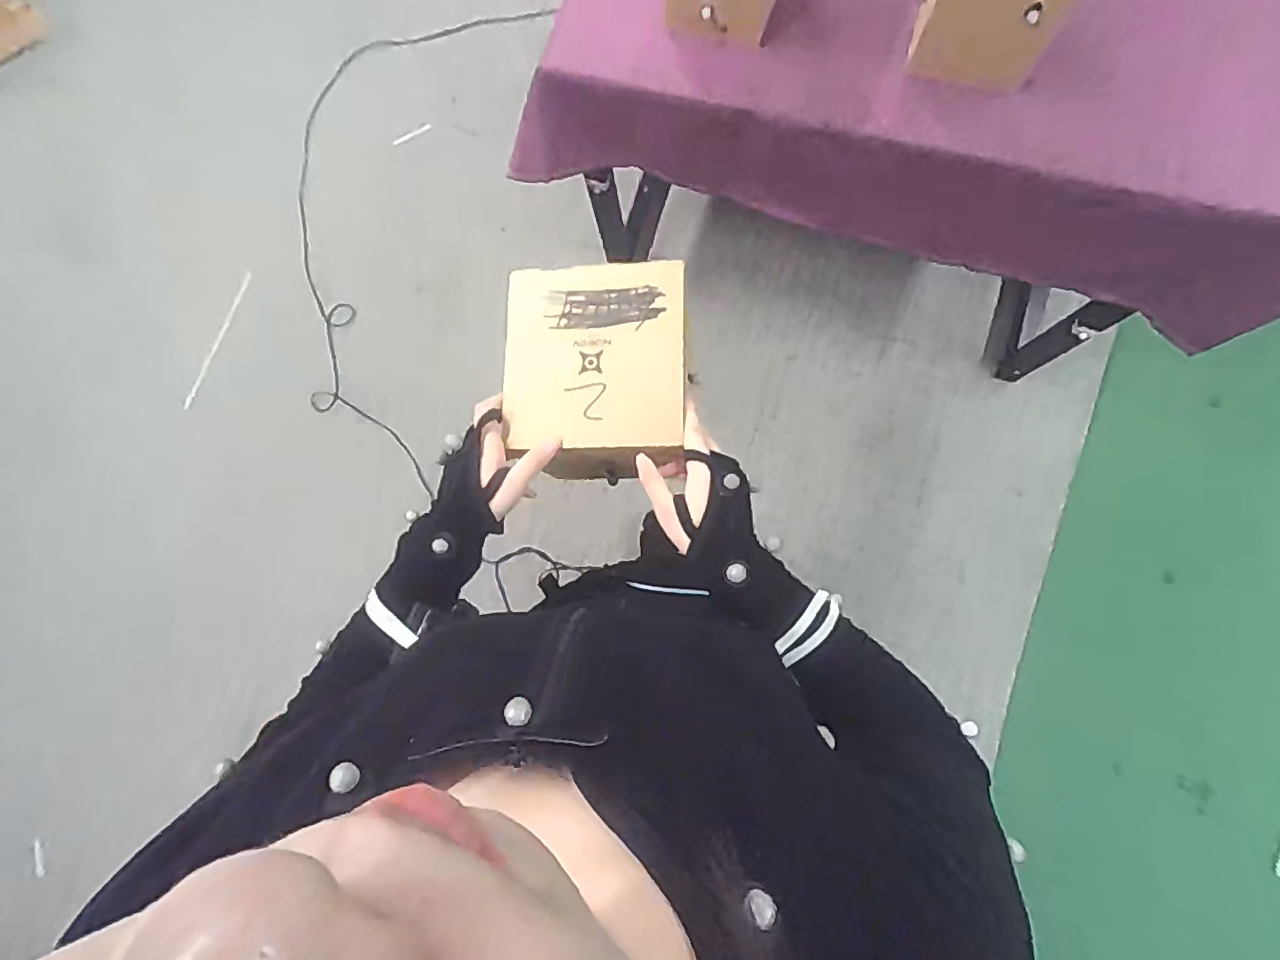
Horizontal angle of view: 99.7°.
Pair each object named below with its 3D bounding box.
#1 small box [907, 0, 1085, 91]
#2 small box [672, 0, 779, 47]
[{"bbox_3d":[0.522,-0.708,0.779,0.179,0.176,0.168,17,82,8],"label":"small box"},{"bbox_3d":[0.145,-0.830,0.832,0.168,0.176,0.179,19,84,8],"label":"small box"}]
